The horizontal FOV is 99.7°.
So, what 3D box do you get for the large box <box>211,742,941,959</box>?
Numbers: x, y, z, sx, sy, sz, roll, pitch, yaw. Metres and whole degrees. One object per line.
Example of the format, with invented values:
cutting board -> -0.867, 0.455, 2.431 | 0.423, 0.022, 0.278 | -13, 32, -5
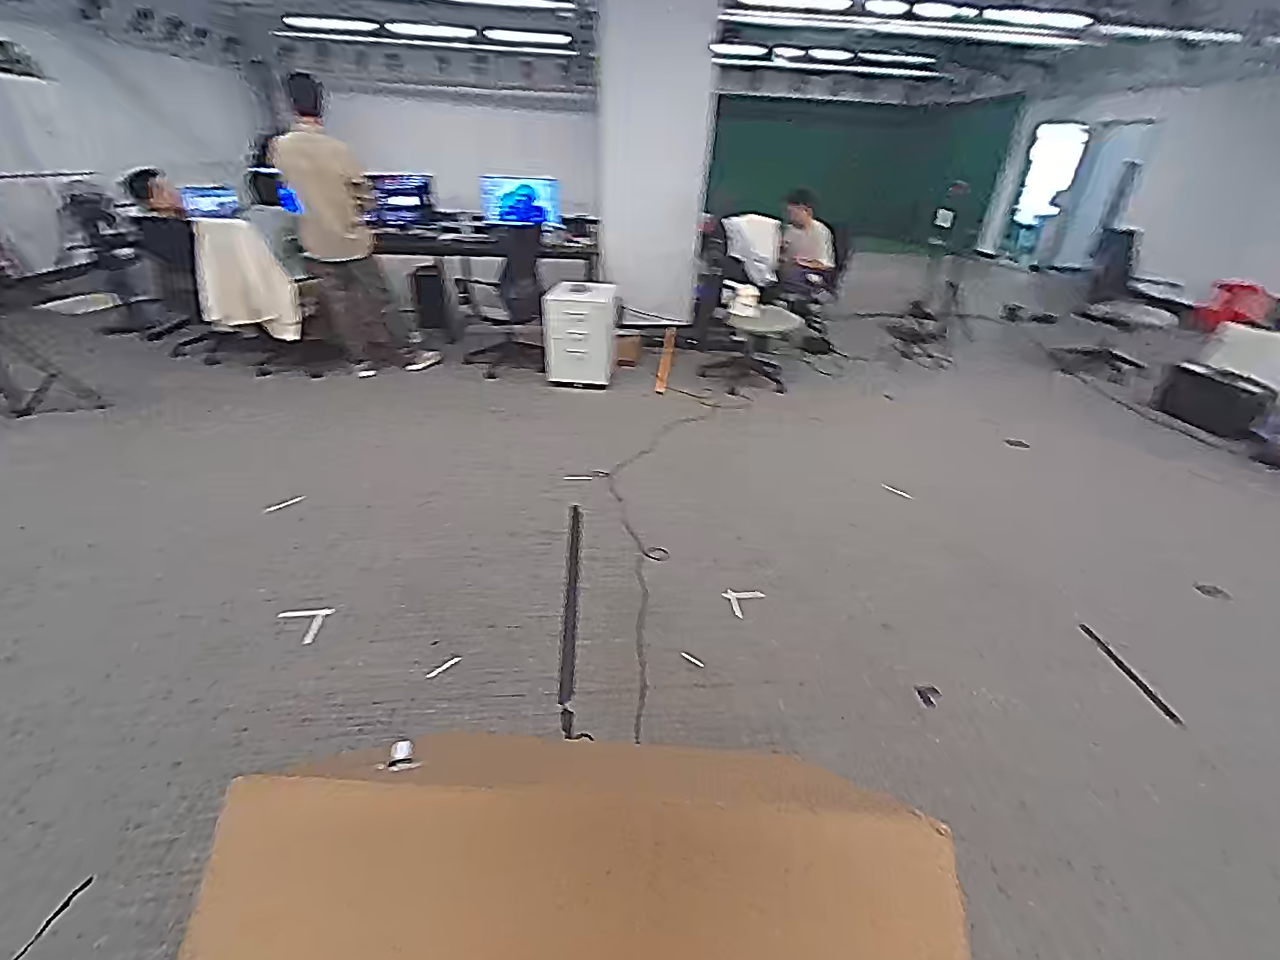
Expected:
large box -> -0.039, 0.382, 0.404 | 0.408, 0.320, 0.320 | 2, 70, 2
